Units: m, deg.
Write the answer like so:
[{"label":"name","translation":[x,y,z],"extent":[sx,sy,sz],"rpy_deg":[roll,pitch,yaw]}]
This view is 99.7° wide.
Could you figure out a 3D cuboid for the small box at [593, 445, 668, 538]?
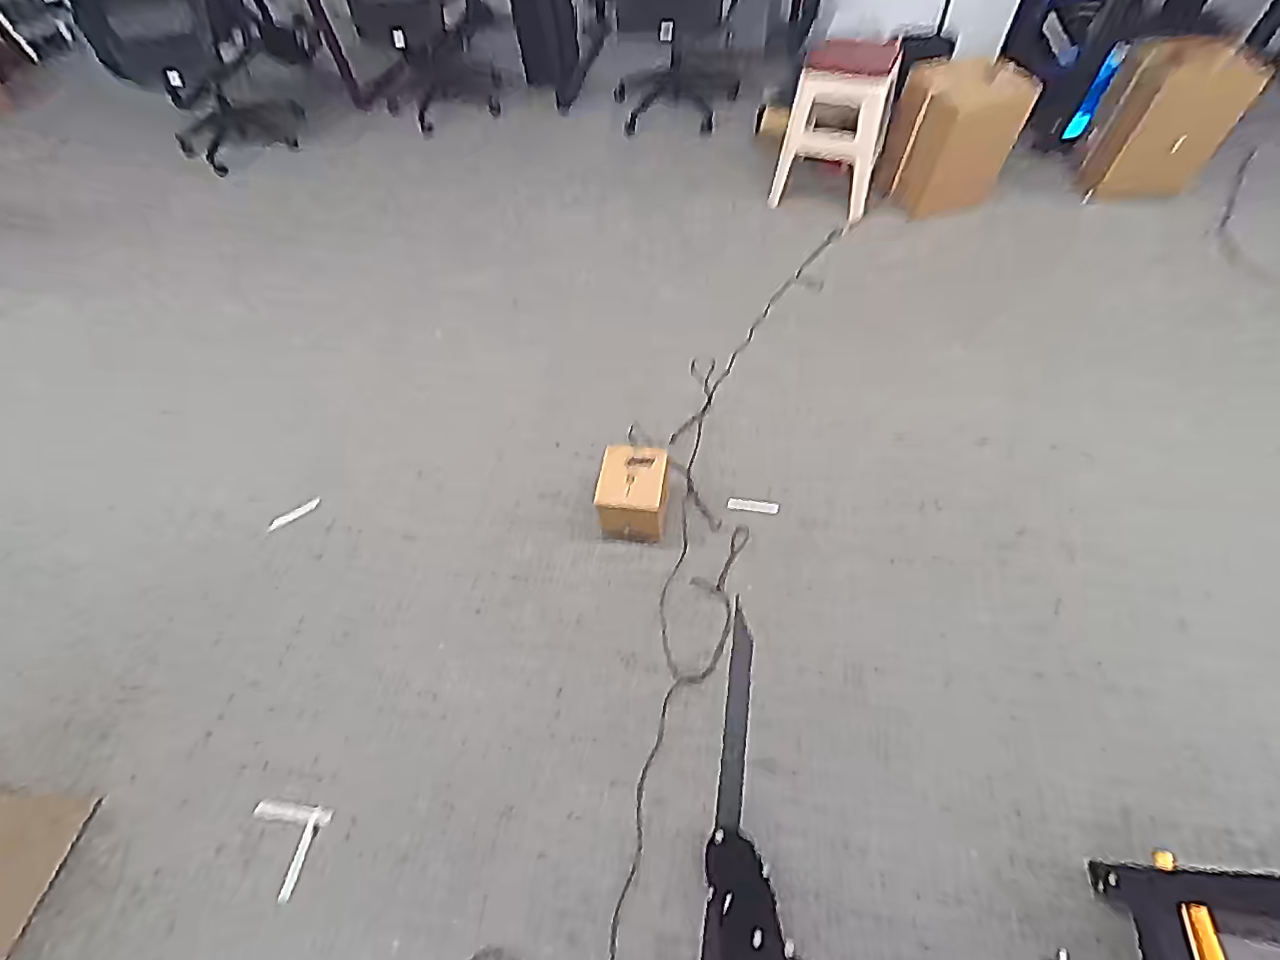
[{"label":"small box","translation":[-0.019,0.032,1.437],"extent":[0.168,0.176,0.179],"rpy_deg":[6,59,9]}]
